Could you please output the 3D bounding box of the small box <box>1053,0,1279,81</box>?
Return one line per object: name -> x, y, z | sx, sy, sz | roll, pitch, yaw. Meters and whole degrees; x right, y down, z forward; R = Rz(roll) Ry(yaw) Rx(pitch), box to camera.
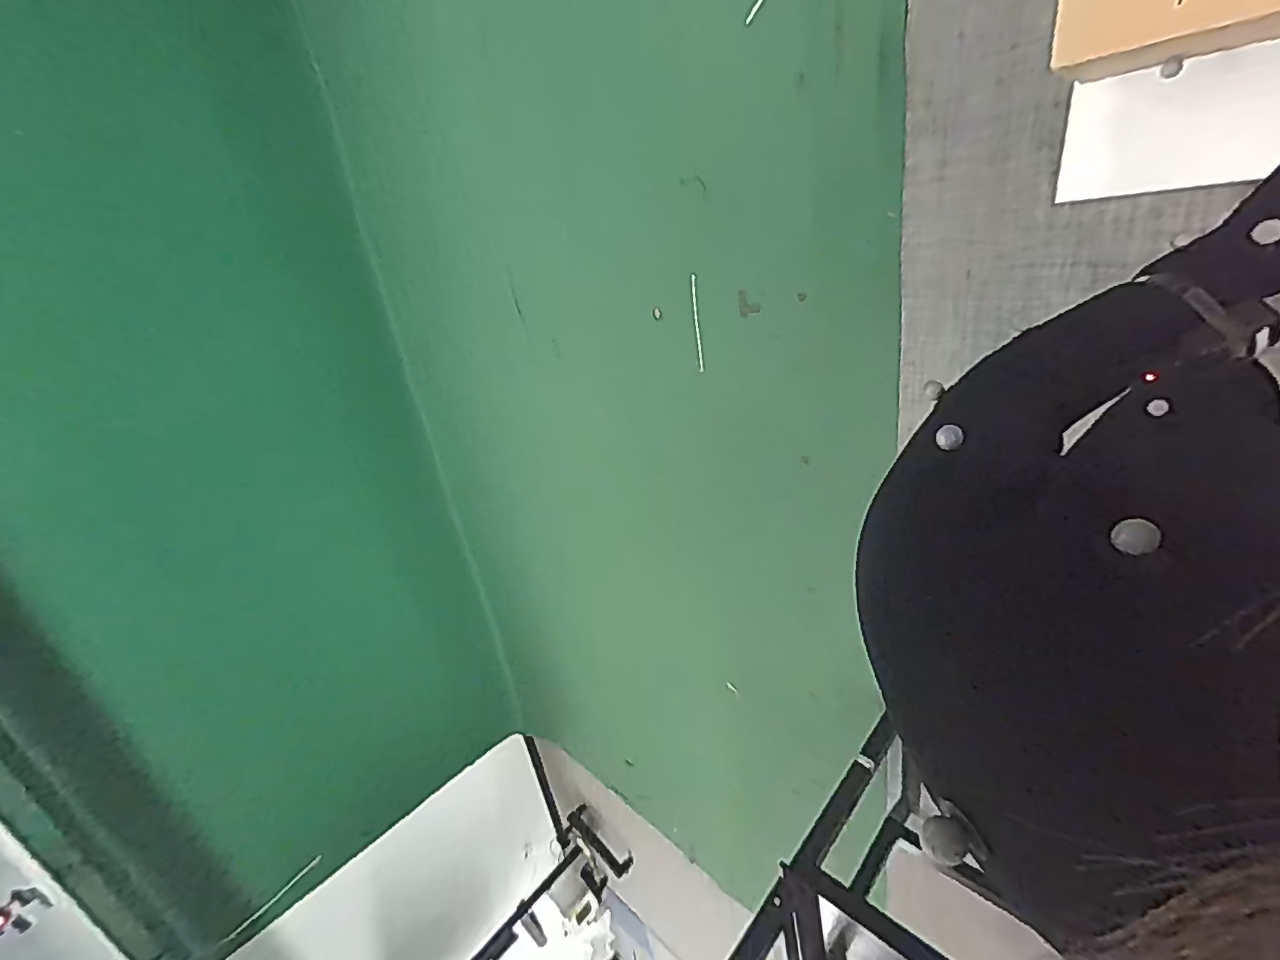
small box -> 0.469, -0.457, 0.442 | 0.168, 0.176, 0.179 | 16, 125, 42
